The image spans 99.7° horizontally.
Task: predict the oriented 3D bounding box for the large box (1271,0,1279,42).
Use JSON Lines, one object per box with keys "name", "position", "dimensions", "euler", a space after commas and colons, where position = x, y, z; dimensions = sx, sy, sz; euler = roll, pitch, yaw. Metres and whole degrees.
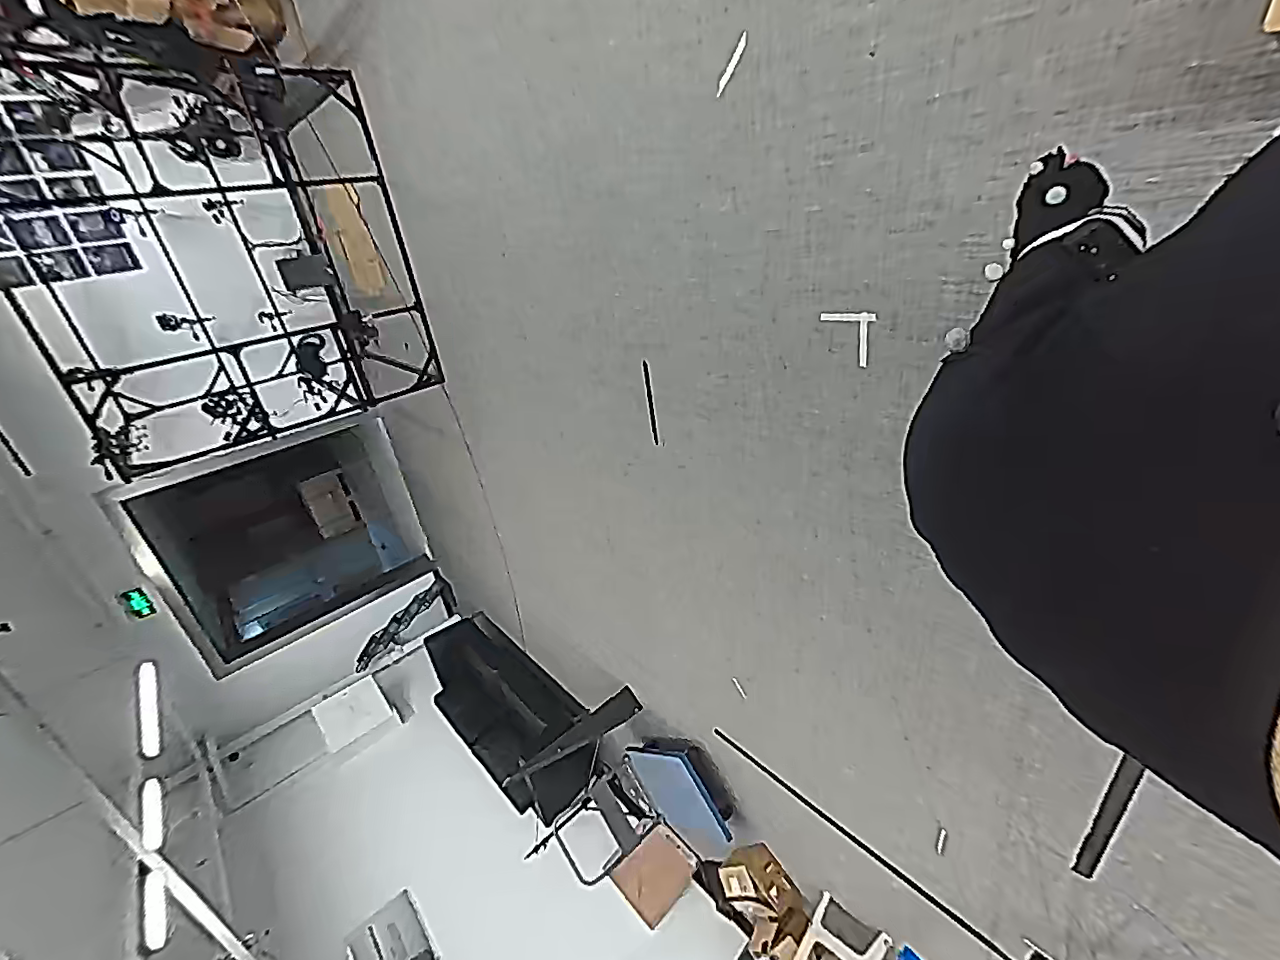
{"name": "large box", "position": [1.023, -0.720, 0.573], "dimensions": [0.408, 0.320, 0.320], "euler": [21, 129, 44]}
